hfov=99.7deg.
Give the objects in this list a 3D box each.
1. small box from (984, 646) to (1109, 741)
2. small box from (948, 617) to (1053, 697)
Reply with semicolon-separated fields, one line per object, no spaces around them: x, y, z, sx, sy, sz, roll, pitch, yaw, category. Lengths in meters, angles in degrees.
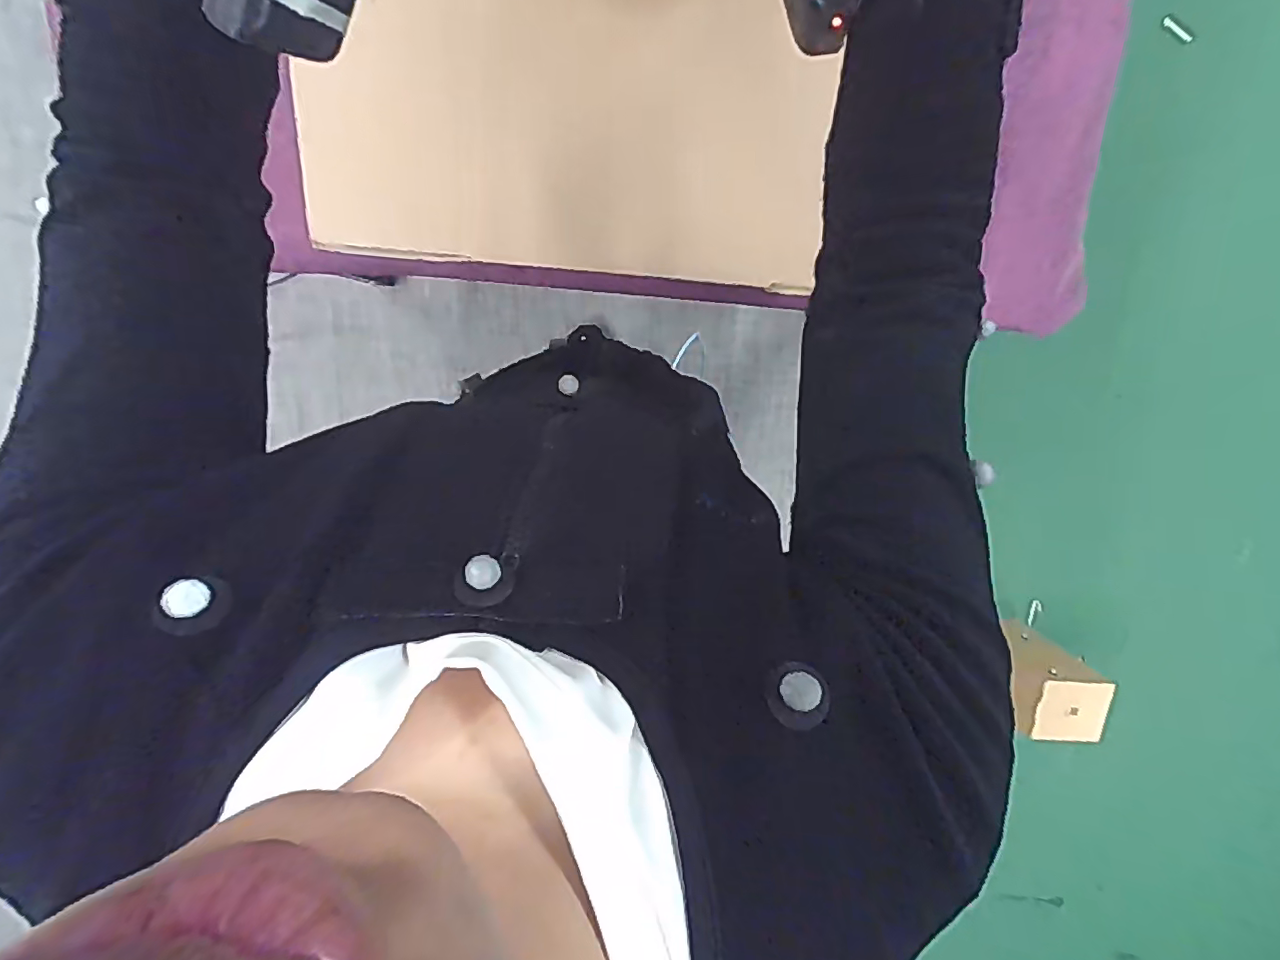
1.040;0.546;1.398;0.179;0.176;0.168;3;104;-2;small box
1.035;0.509;1.557;0.179;0.176;0.168;5;103;-2;small box
